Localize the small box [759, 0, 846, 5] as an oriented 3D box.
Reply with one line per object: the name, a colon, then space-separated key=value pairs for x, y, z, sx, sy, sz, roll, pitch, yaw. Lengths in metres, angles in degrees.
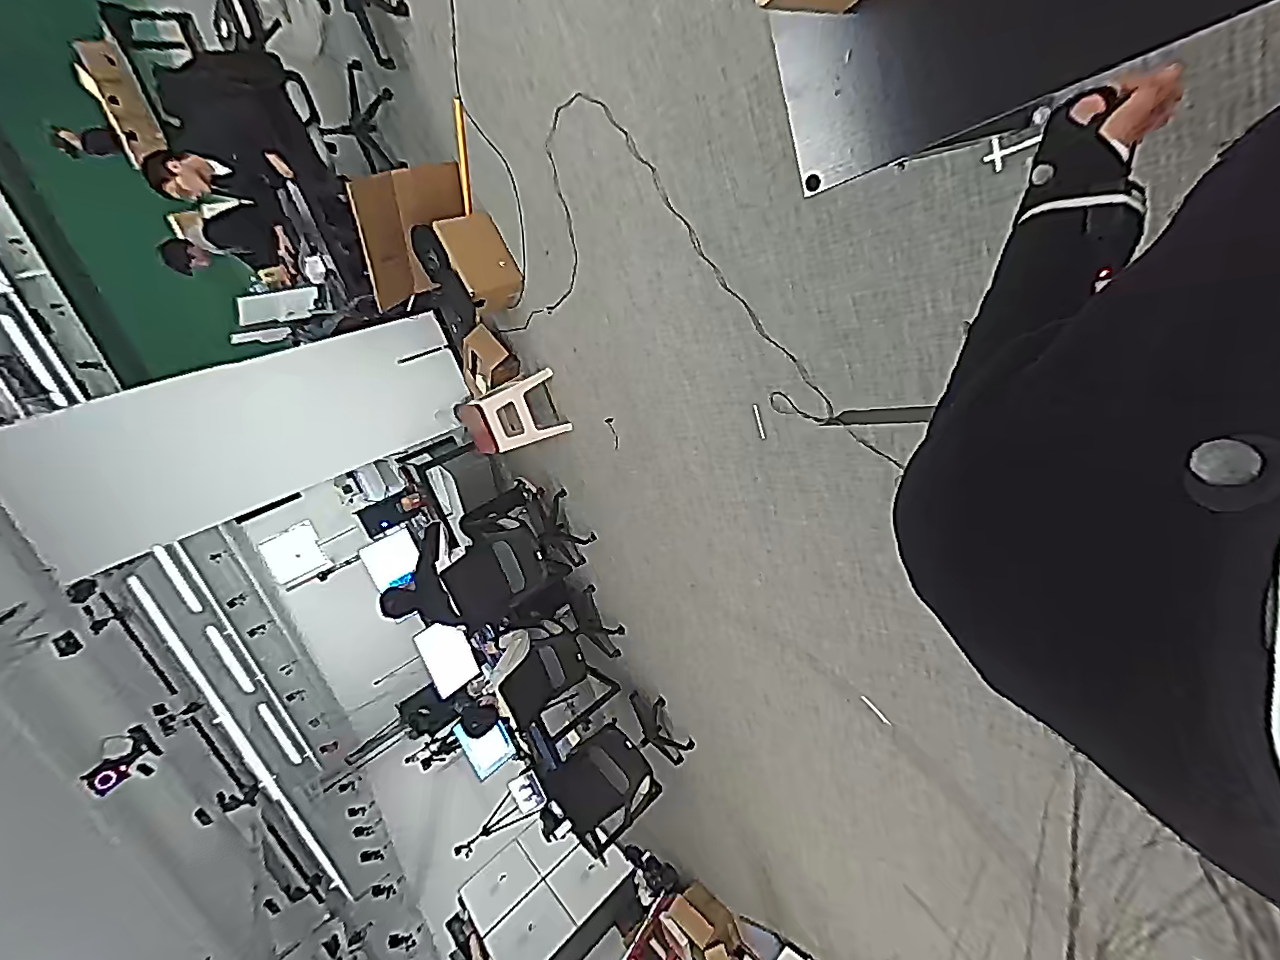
small box: x=0.208 y=-0.617 z=0.531 sx=0.179 sy=0.176 sz=0.168 roll=1 pitch=115 yaw=53
